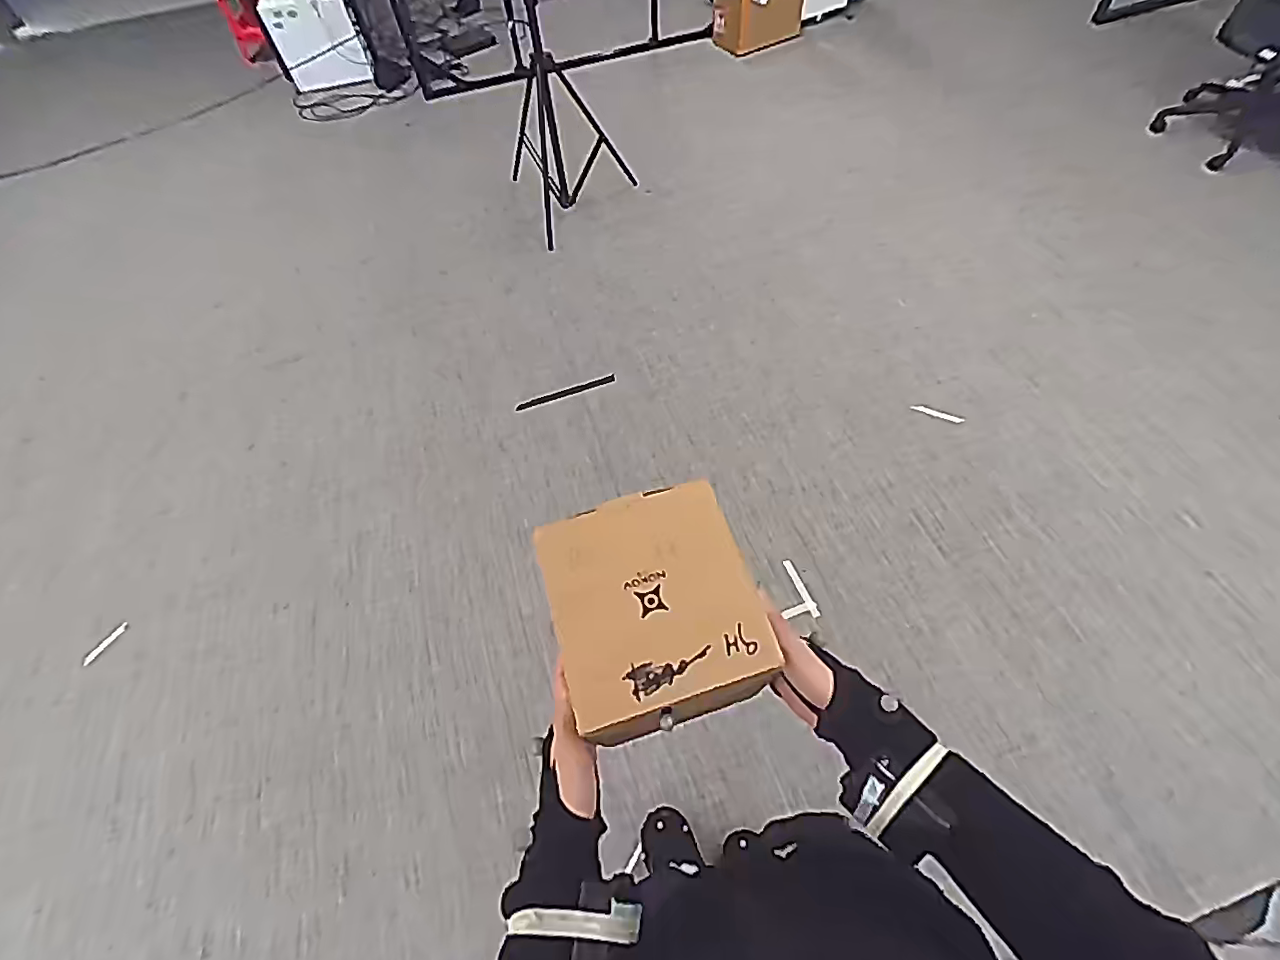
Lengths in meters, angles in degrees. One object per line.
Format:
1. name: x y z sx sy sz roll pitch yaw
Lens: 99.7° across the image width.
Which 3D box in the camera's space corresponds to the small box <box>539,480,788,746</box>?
1. small box: 0.014 0.131 0.511 0.168 0.176 0.179 -16 61 -6
